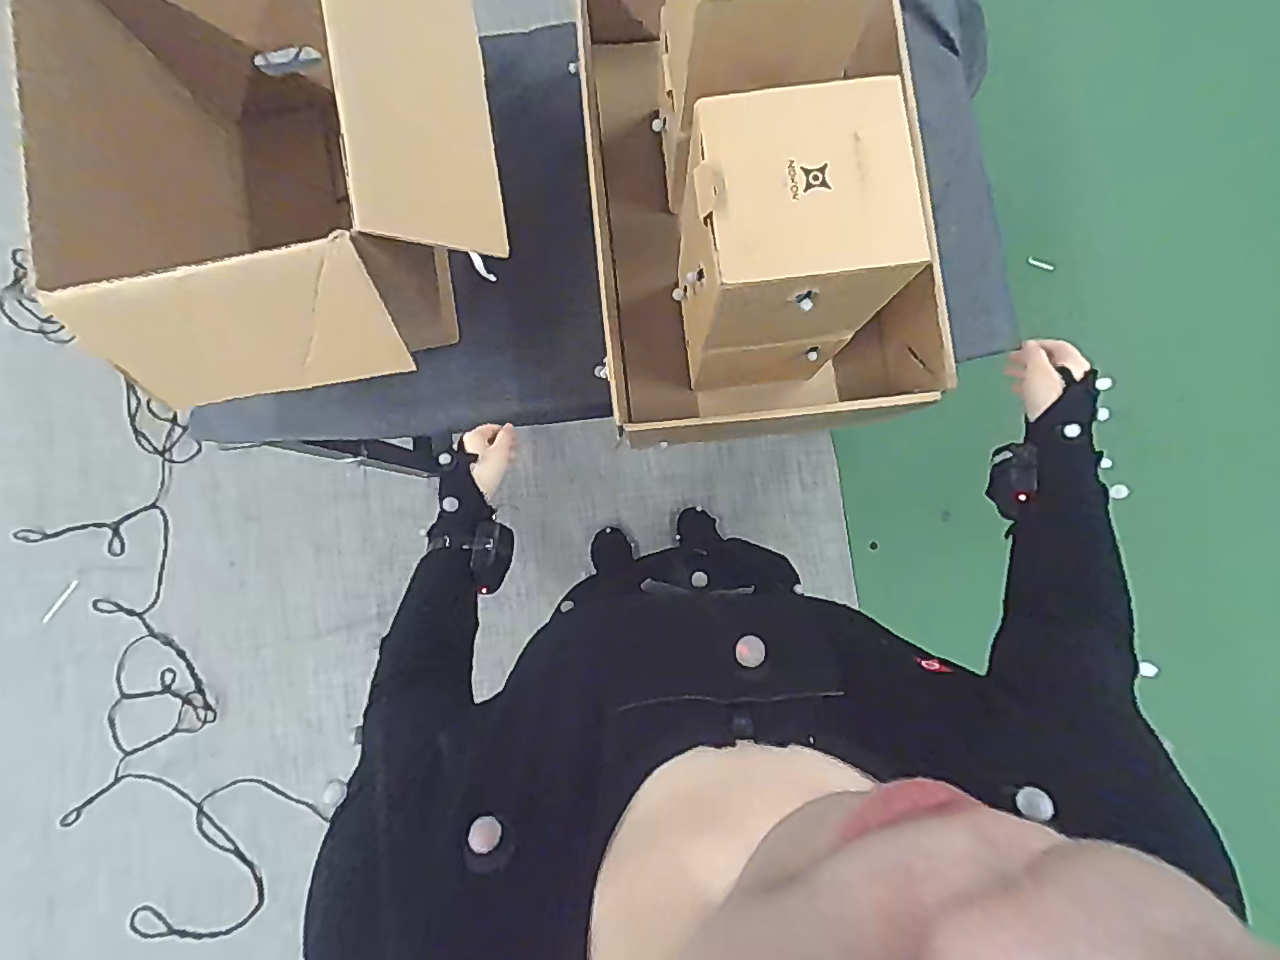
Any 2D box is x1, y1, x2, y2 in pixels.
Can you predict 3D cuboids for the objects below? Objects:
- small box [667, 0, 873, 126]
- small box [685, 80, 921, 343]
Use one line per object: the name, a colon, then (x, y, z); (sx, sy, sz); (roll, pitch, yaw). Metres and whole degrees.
small box: (0.118, -0.498, 0.549); (0.168, 0.176, 0.179); (-5, 88, -1)
small box: (0.140, -0.245, 0.535); (0.179, 0.176, 0.168); (-7, 86, -1)
